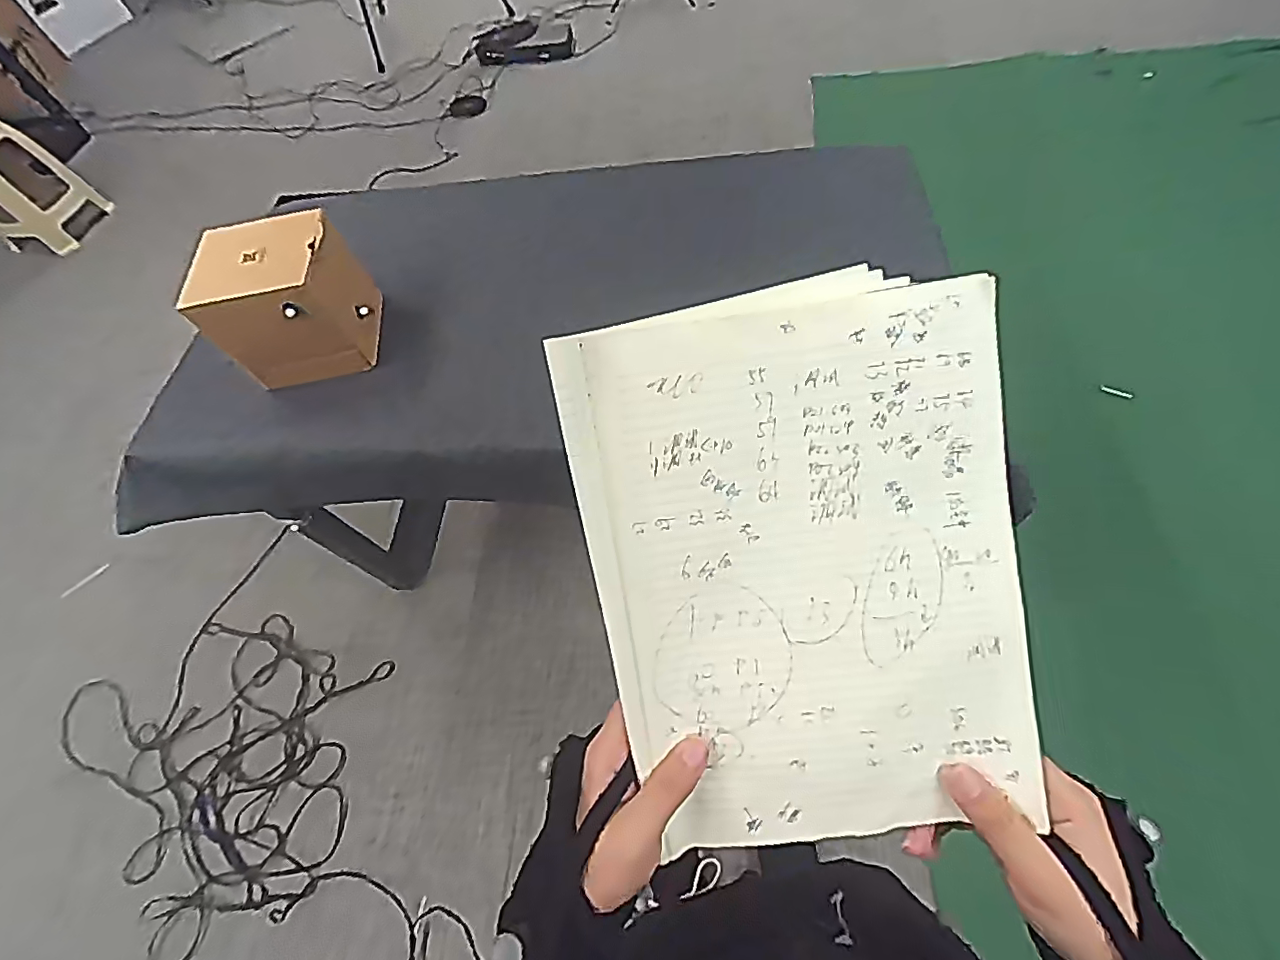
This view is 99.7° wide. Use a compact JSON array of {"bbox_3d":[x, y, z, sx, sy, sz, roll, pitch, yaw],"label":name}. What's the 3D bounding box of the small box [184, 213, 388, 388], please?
[{"bbox_3d":[-0.509,-0.259,0.806,0.179,0.176,0.168,-11,59,1],"label":"small box"}]
